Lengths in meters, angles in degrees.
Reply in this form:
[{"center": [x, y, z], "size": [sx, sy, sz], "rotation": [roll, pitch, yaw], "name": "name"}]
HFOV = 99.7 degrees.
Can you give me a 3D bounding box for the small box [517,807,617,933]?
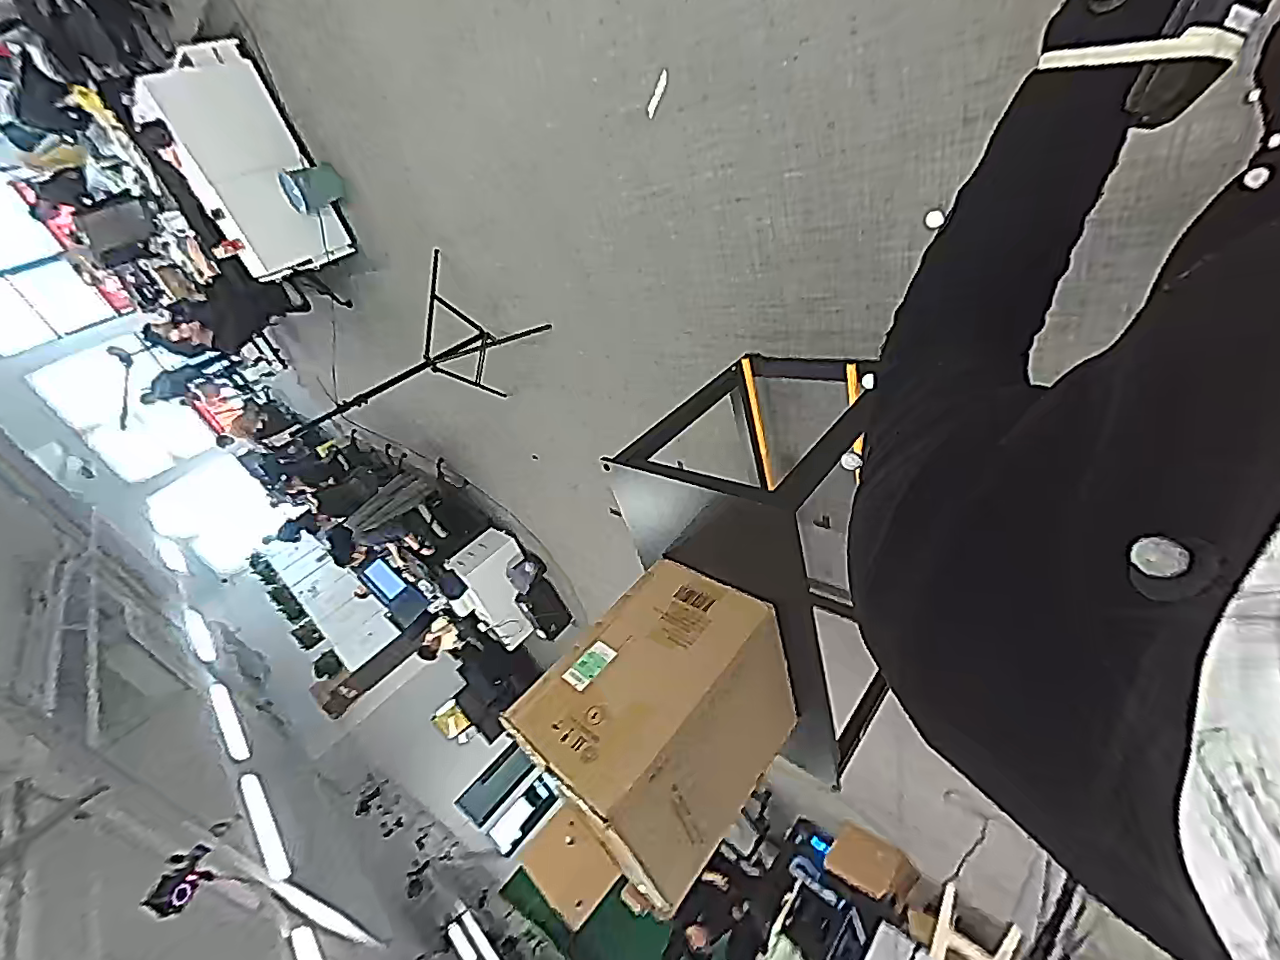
[{"center": [-0.182, 1.003, 1.400], "size": [0.168, 0.176, 0.179], "rotation": [19, 137, 44], "name": "small box"}]
